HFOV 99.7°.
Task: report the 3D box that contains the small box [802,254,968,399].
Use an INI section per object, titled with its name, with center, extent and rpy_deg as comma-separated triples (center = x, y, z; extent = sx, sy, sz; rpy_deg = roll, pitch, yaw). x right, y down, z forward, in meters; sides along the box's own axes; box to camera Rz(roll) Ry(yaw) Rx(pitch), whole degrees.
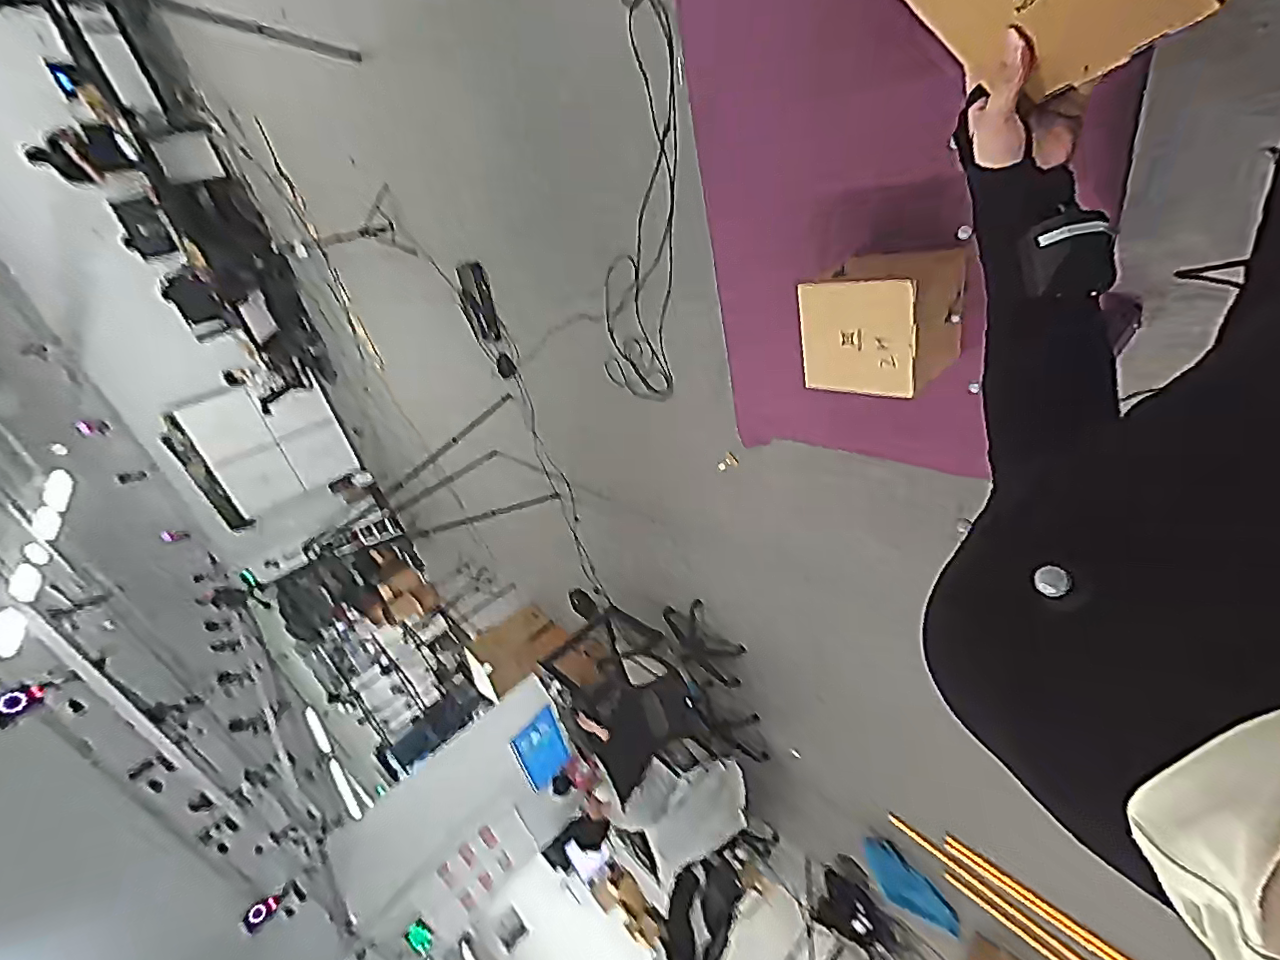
[small box]
center = 0.377, -0.241, 0.839
extent = 0.179, 0.176, 0.168
rpy_deg = 17, 131, 46
